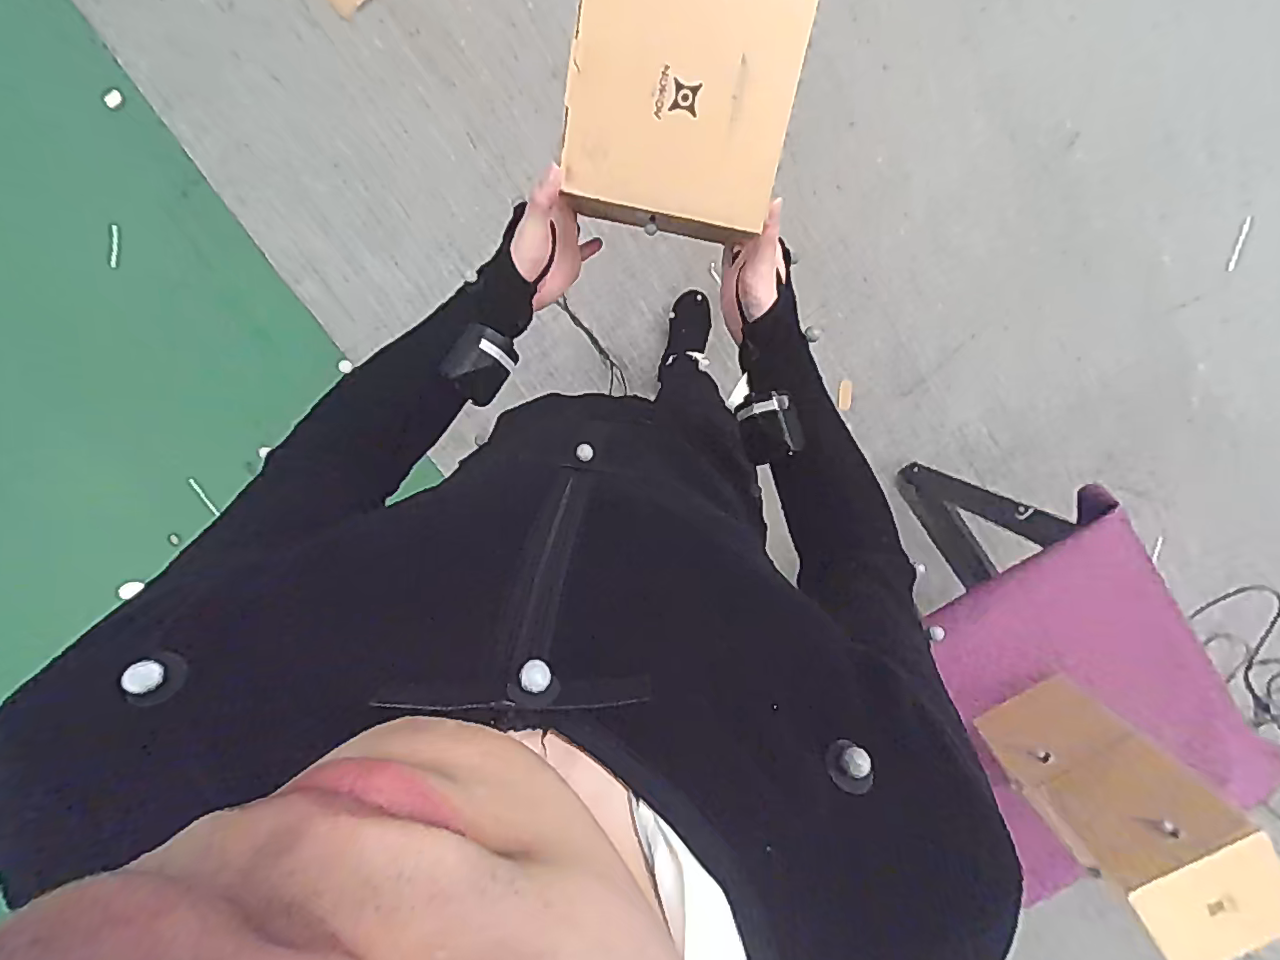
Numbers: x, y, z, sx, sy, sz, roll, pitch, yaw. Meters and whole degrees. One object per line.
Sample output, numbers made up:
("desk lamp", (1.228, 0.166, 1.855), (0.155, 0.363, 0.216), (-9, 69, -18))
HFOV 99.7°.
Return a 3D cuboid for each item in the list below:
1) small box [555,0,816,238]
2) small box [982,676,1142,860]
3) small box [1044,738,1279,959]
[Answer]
("small box", (0.033, -0.328, 0.496), (0.179, 0.176, 0.168), (11, 110, -3))
("small box", (0.711, 0.467, 0.897), (0.179, 0.176, 0.168), (-34, 100, 9))
("small box", (0.704, 0.501, 0.739), (0.179, 0.176, 0.168), (-34, 99, 8))
